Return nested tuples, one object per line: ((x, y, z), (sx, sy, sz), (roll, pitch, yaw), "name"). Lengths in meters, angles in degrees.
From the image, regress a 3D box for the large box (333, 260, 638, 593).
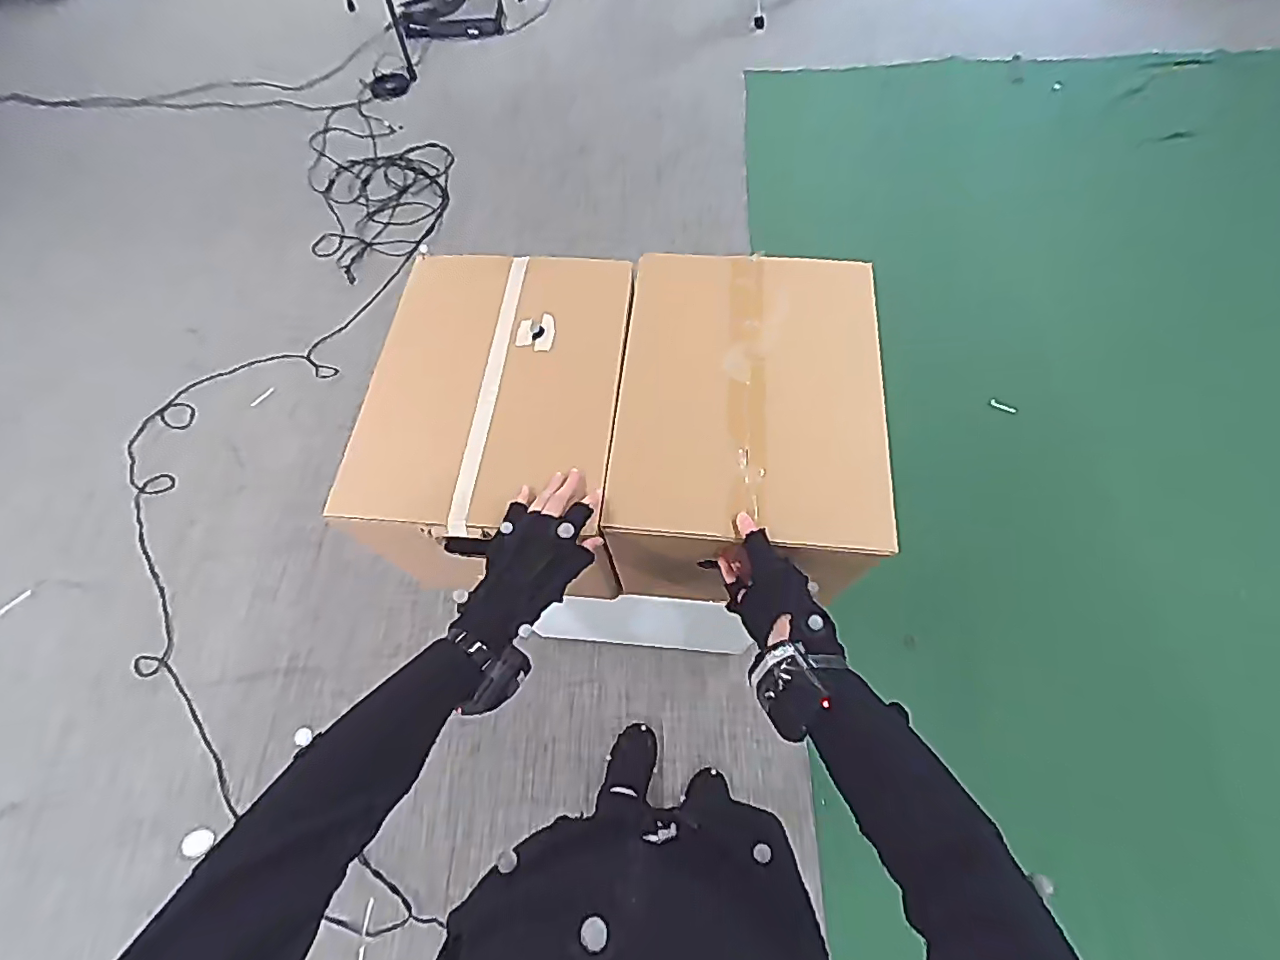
((-0.178, -0.065, 0.820), (0.320, 0.320, 0.408), (4, 64, 5), "large box")
